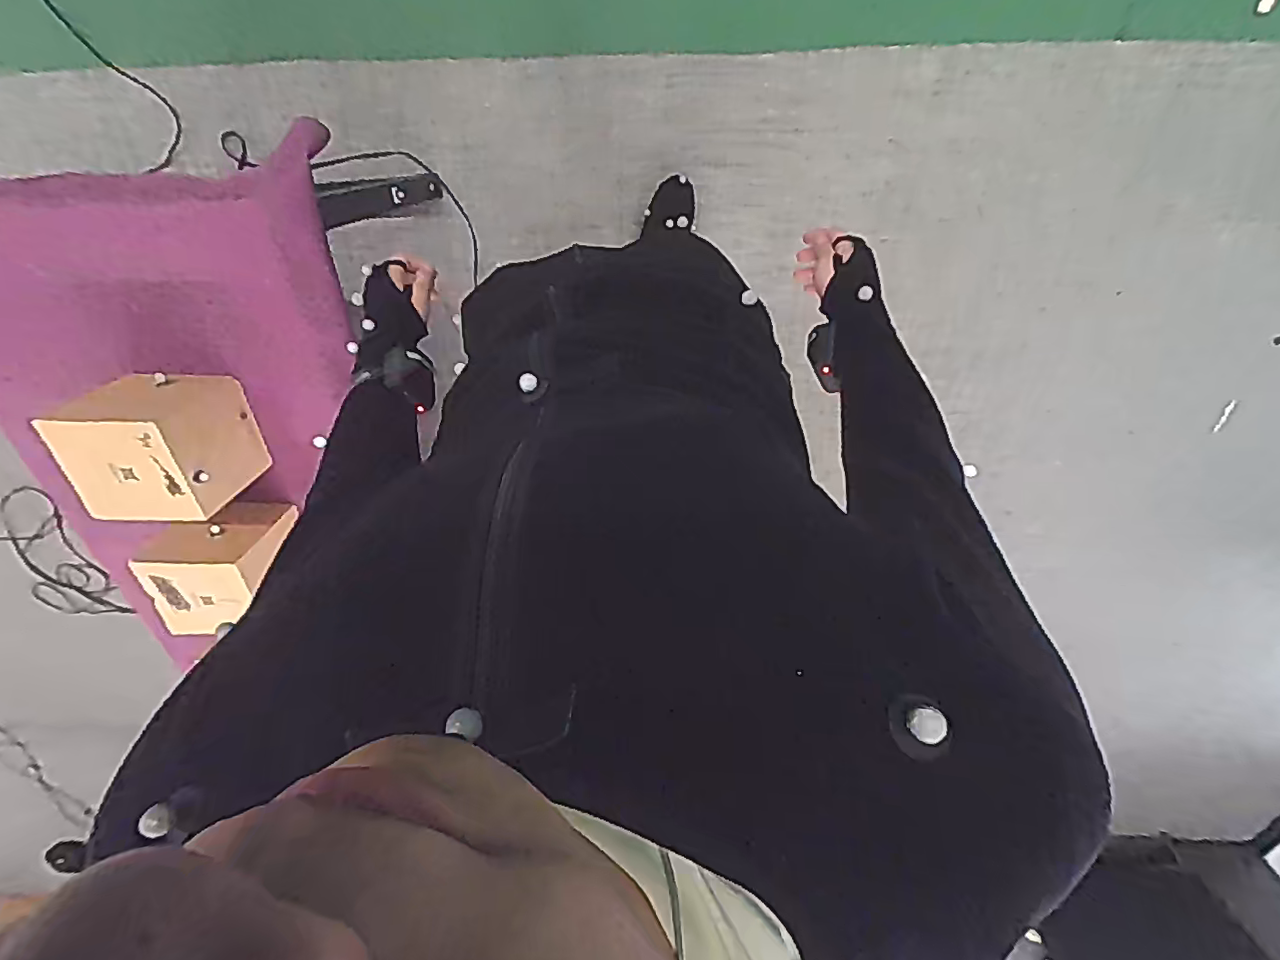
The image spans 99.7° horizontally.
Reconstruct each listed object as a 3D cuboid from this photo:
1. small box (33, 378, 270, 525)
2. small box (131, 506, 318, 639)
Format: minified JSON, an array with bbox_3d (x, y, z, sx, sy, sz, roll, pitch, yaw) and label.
[{"bbox_3d":[-0.726,-0.049,0.830,0.179,0.176,0.168,2,123,2],"label":"small box"},{"bbox_3d":[-0.720,0.159,0.961,0.179,0.176,0.168,2,122,0],"label":"small box"}]
